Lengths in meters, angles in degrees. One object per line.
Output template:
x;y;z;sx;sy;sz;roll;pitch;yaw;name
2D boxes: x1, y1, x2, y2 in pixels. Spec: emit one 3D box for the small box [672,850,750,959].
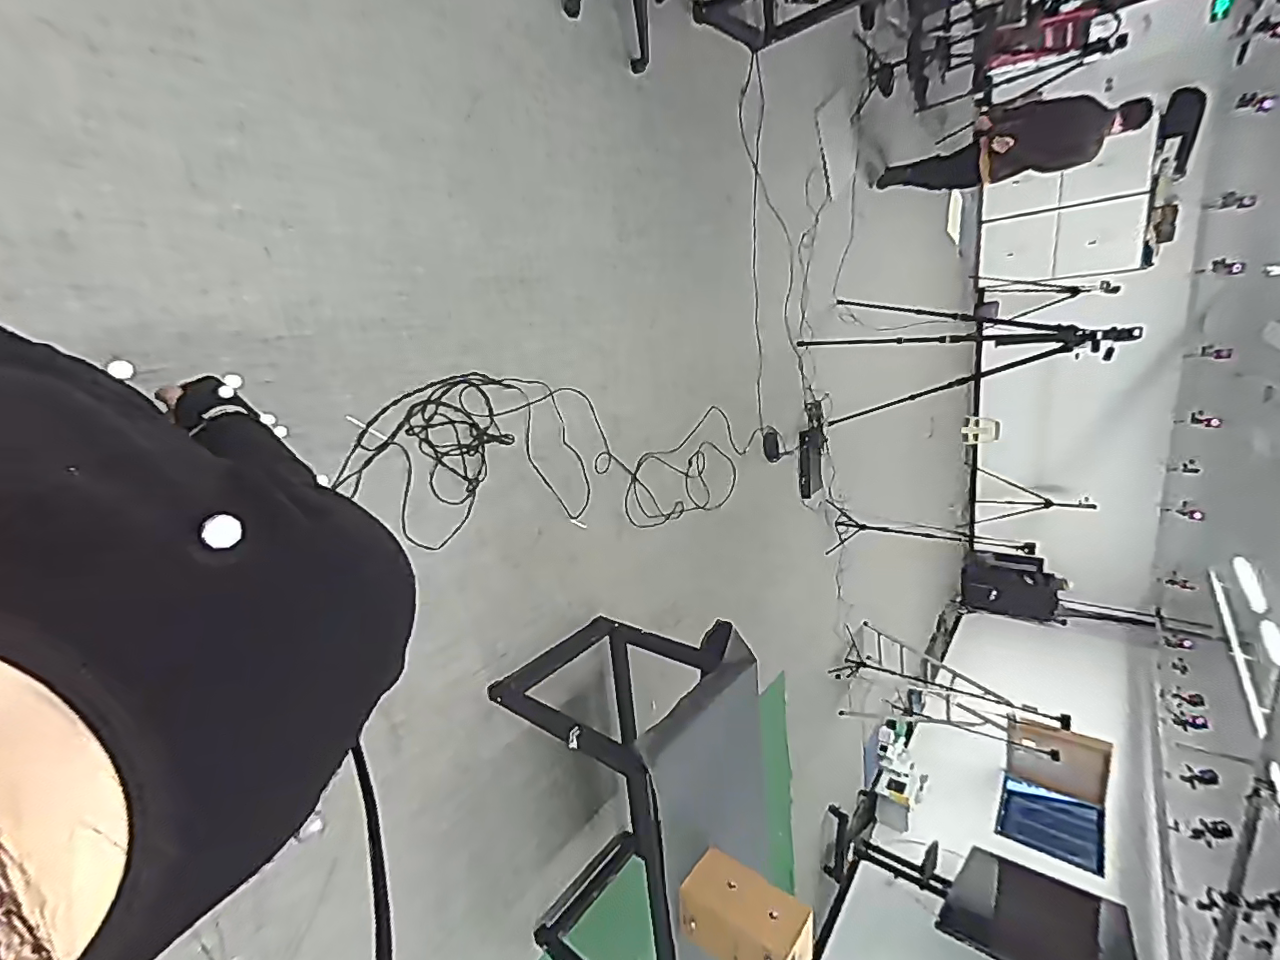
0.210;1.245;1.587;0.179;0.176;0.168;-16;107;-50;small box
